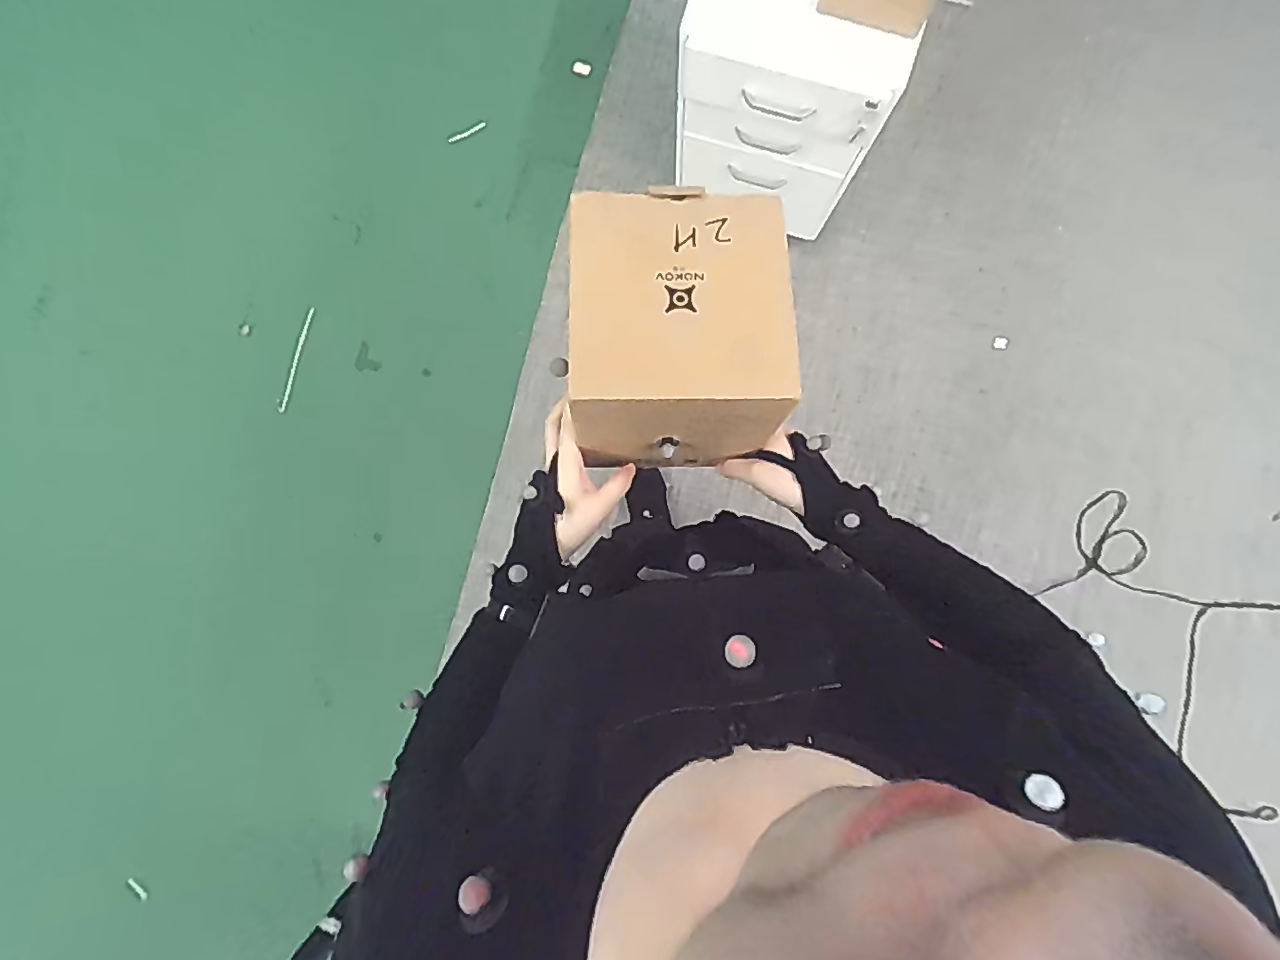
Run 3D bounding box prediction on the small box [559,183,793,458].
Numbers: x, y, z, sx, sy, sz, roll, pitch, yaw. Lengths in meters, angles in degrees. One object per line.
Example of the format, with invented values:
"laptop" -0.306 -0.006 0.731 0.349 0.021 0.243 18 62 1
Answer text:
"small box" 0.023 -0.122 0.471 0.168 0.176 0.179 0 75 -3
